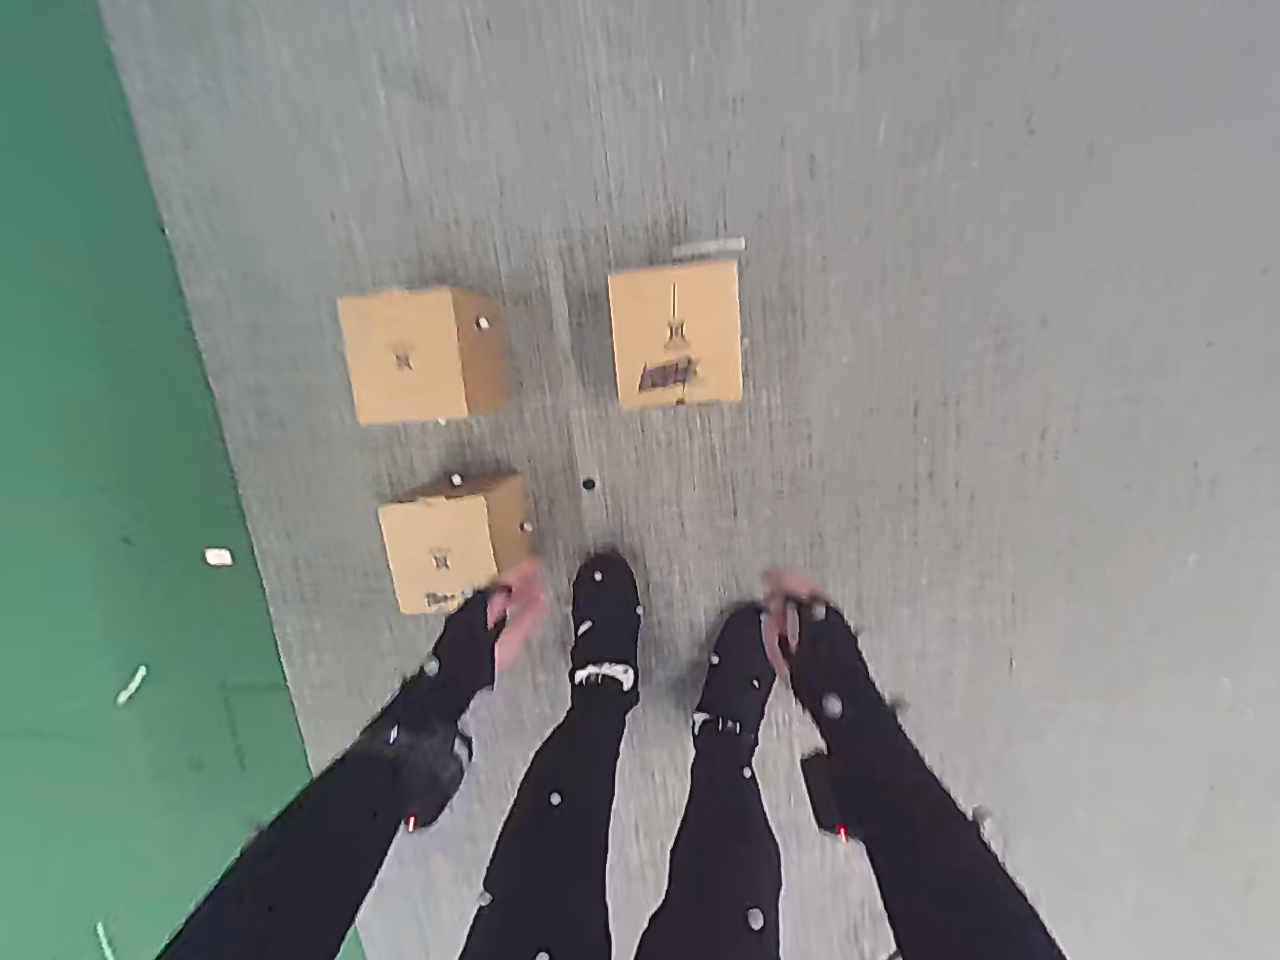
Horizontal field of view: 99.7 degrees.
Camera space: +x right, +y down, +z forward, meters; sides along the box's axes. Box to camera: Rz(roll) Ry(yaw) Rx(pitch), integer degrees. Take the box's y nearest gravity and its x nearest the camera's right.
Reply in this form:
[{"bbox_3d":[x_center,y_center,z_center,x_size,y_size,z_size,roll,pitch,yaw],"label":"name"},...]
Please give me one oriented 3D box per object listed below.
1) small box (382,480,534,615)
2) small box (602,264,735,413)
[{"bbox_3d":[-0.282,0.100,0.875,0.168,0.176,0.179,-5,101,7],"label":"small box"},{"bbox_3d":[0.048,-0.197,0.772,0.168,0.176,0.179,-4,102,7],"label":"small box"}]
